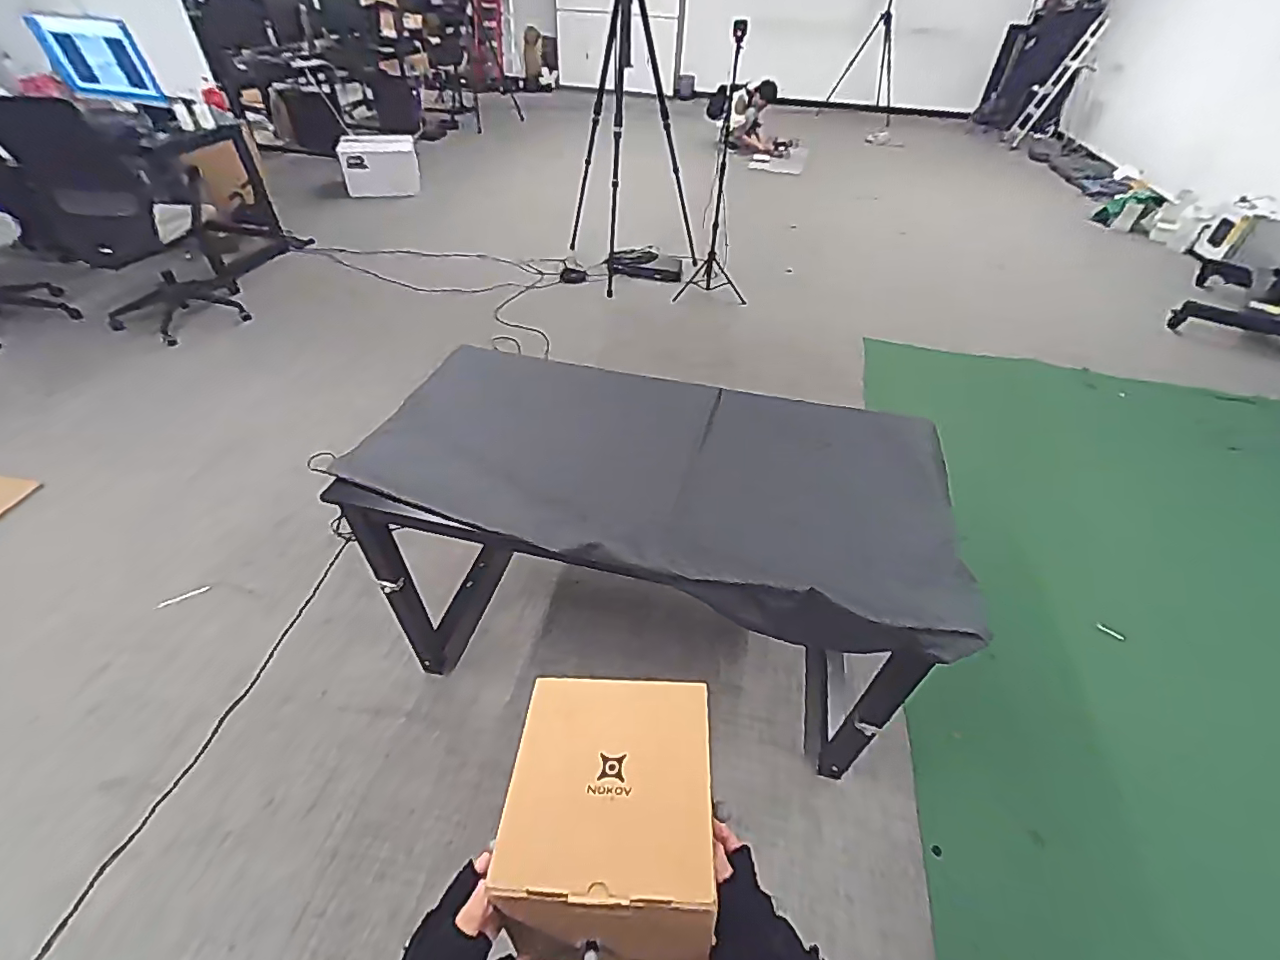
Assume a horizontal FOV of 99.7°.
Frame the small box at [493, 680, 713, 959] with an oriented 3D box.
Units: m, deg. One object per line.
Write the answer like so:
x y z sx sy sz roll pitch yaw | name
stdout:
-0.022 0.315 0.507 0.168 0.176 0.179 1 37 4 | small box
